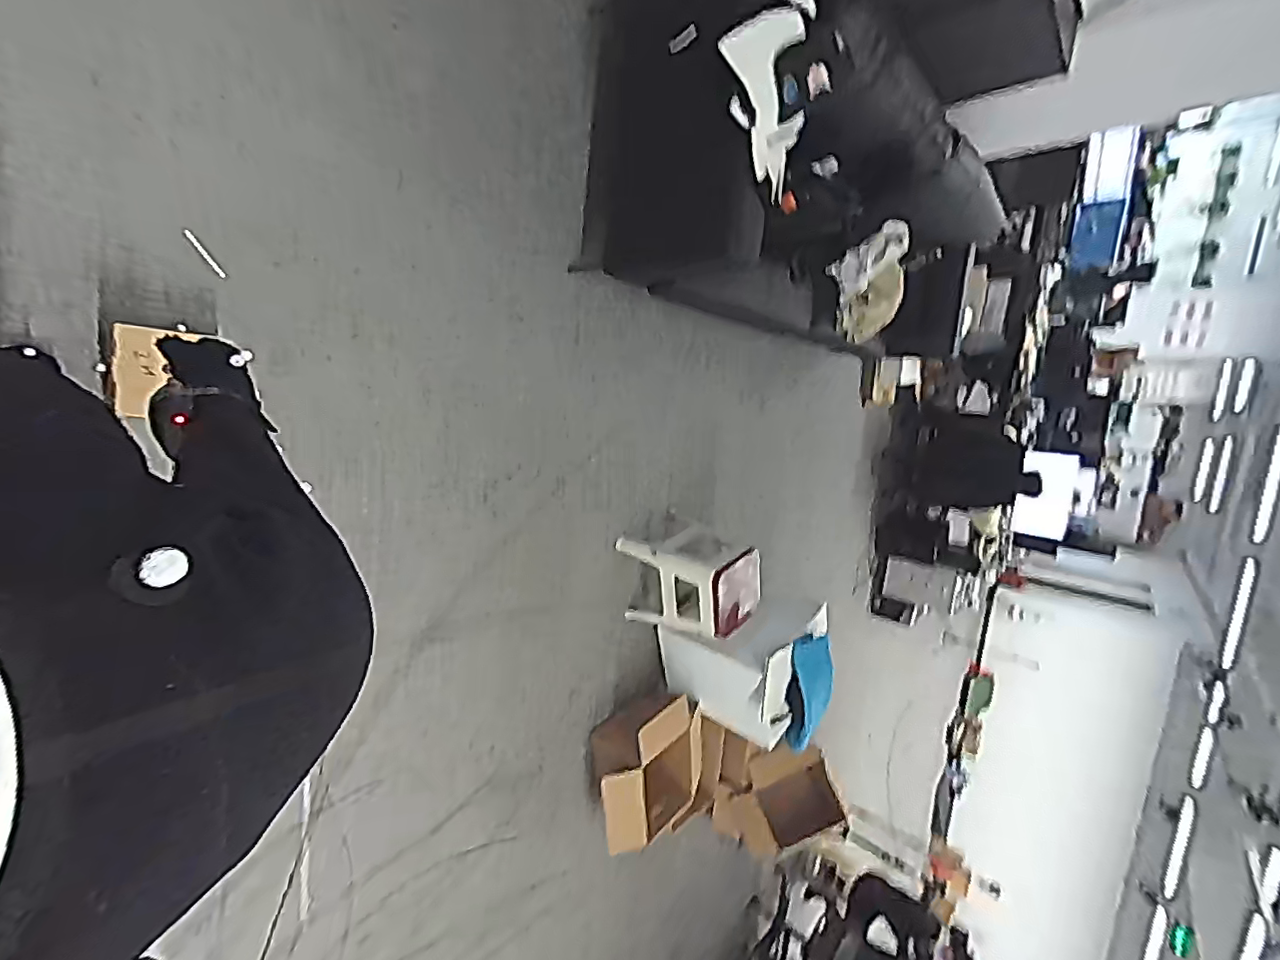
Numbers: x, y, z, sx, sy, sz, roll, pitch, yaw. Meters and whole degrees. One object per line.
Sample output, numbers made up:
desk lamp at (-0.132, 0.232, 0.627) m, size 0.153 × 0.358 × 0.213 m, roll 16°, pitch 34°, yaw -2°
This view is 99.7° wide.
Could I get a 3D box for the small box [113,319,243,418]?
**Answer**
small box at (-0.921, -0.220, 1.078) m, size 0.179 × 0.176 × 0.168 m, roll 0°, pitch 100°, yaw -48°
